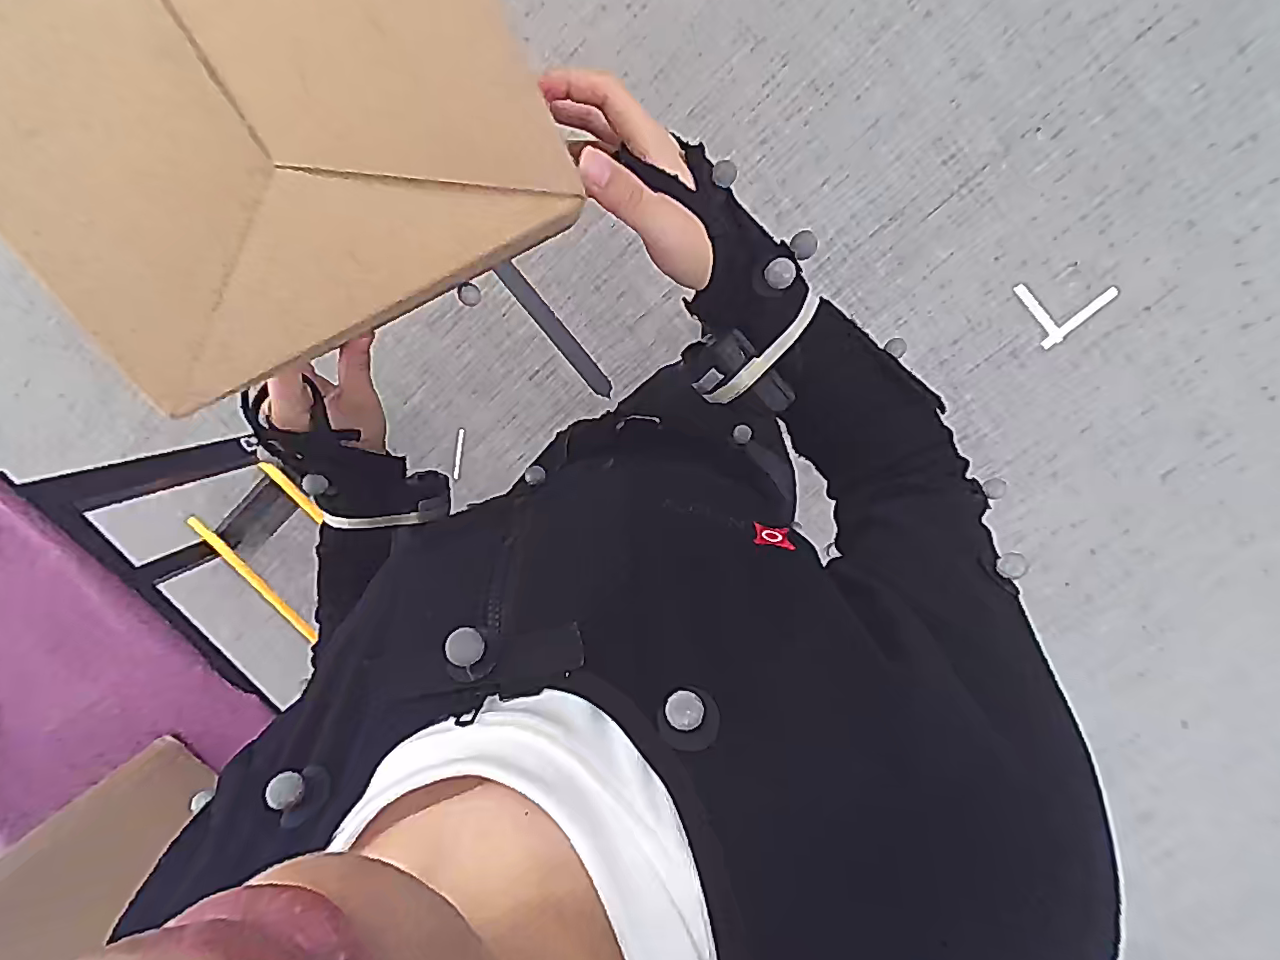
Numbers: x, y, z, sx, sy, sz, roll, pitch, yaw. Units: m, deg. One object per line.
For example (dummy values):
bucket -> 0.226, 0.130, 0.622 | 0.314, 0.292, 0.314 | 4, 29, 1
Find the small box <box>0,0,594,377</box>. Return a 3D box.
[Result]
small box -> -0.132, -0.161, 0.232 | 0.179, 0.176, 0.168 | -26, 114, 1
